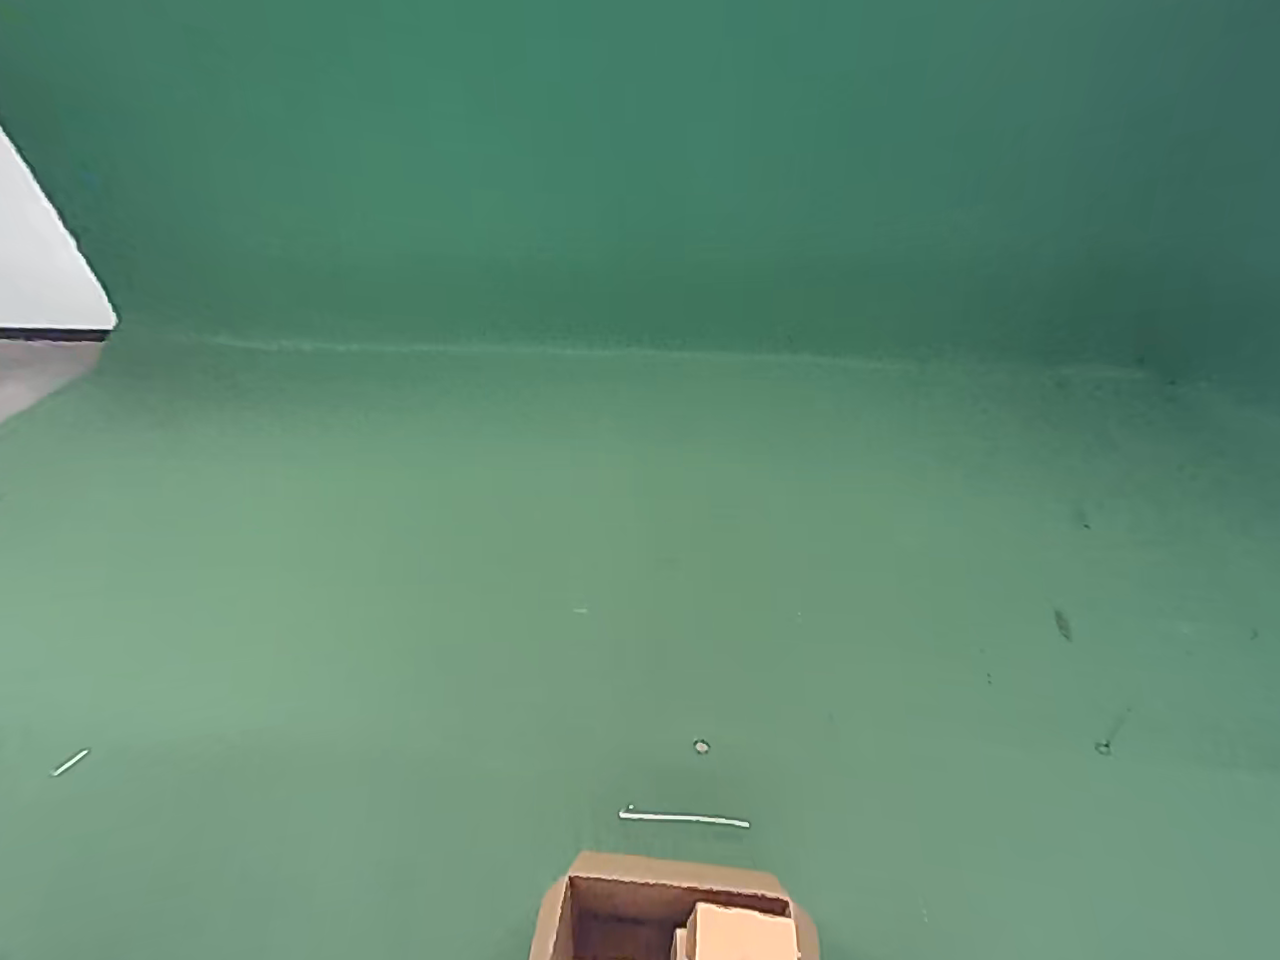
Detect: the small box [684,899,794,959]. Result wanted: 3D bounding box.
[{"bbox_3d":[0.159,0.835,0.895,0.168,0.176,0.179,7,40,5],"label":"small box"}]
